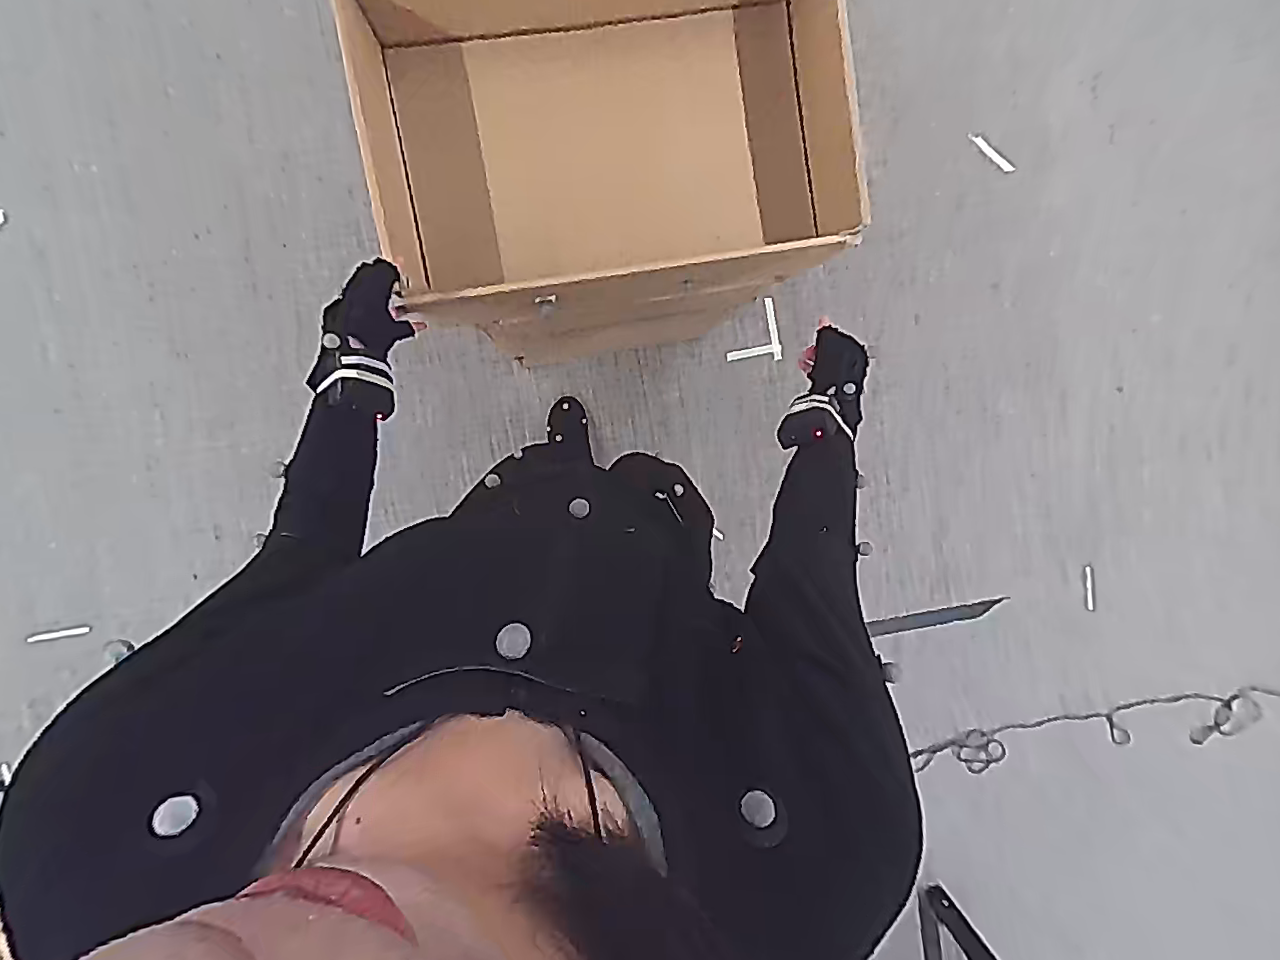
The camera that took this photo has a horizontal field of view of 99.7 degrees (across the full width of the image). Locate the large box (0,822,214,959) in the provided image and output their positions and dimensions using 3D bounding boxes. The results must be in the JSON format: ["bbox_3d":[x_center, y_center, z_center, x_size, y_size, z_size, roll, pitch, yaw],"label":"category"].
[{"bbox_3d":[-1.367,1.171,1.347,0.320,0.320,0.408,-11,96,-5],"label":"large box"}]
